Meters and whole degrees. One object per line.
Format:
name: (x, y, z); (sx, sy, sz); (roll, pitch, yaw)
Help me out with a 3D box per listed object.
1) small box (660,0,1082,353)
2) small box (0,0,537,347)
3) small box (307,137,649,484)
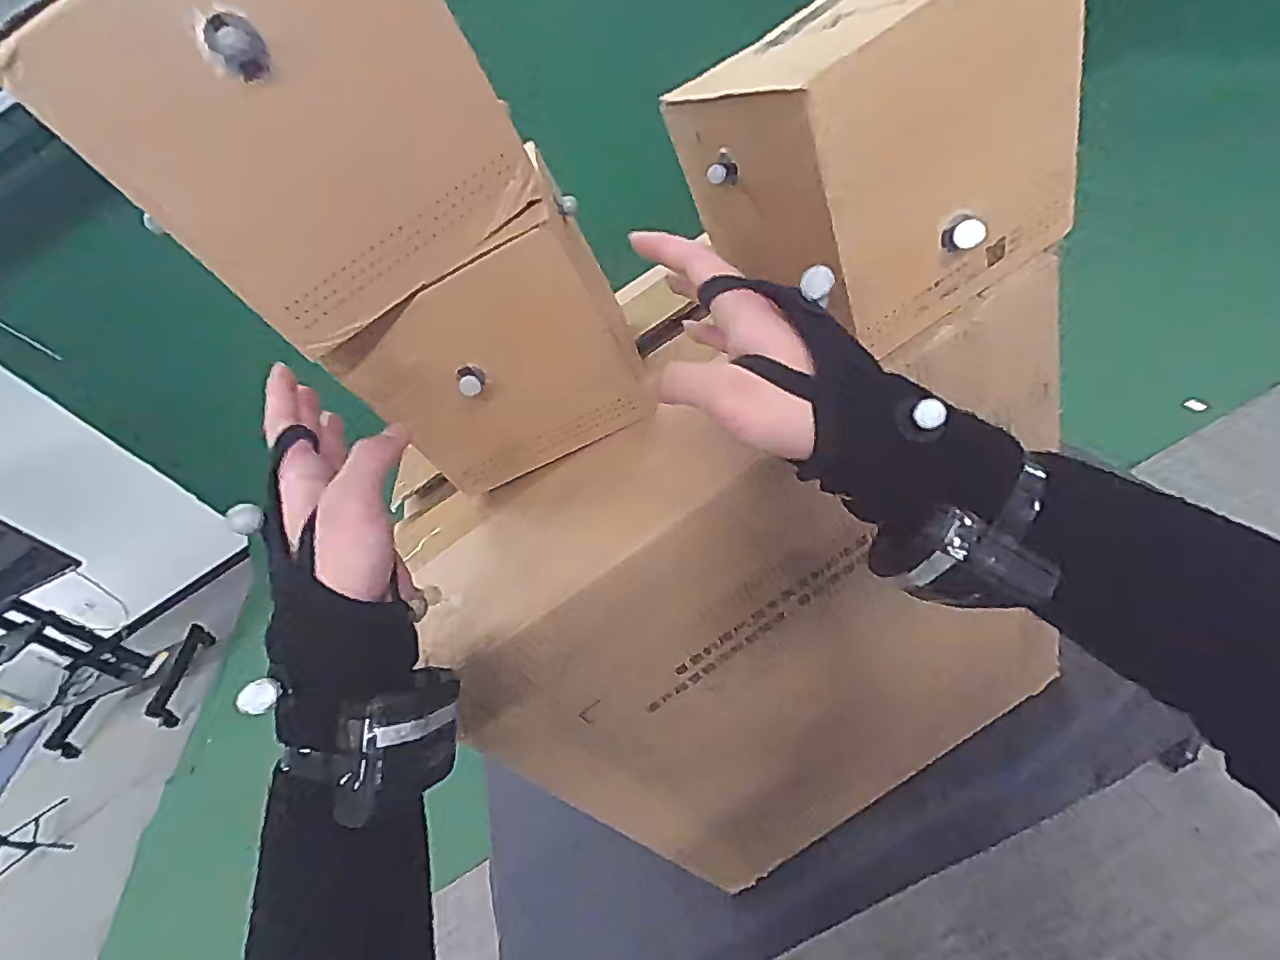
small box: (0.143, -0.213, 0.363); (0.168, 0.176, 0.179); (-34, 39, 0)
small box: (-0.194, -0.211, 0.321); (0.179, 0.176, 0.168); (-36, 46, -3)
small box: (-0.114, -0.125, 0.434); (0.179, 0.176, 0.168); (-24, 47, 11)
